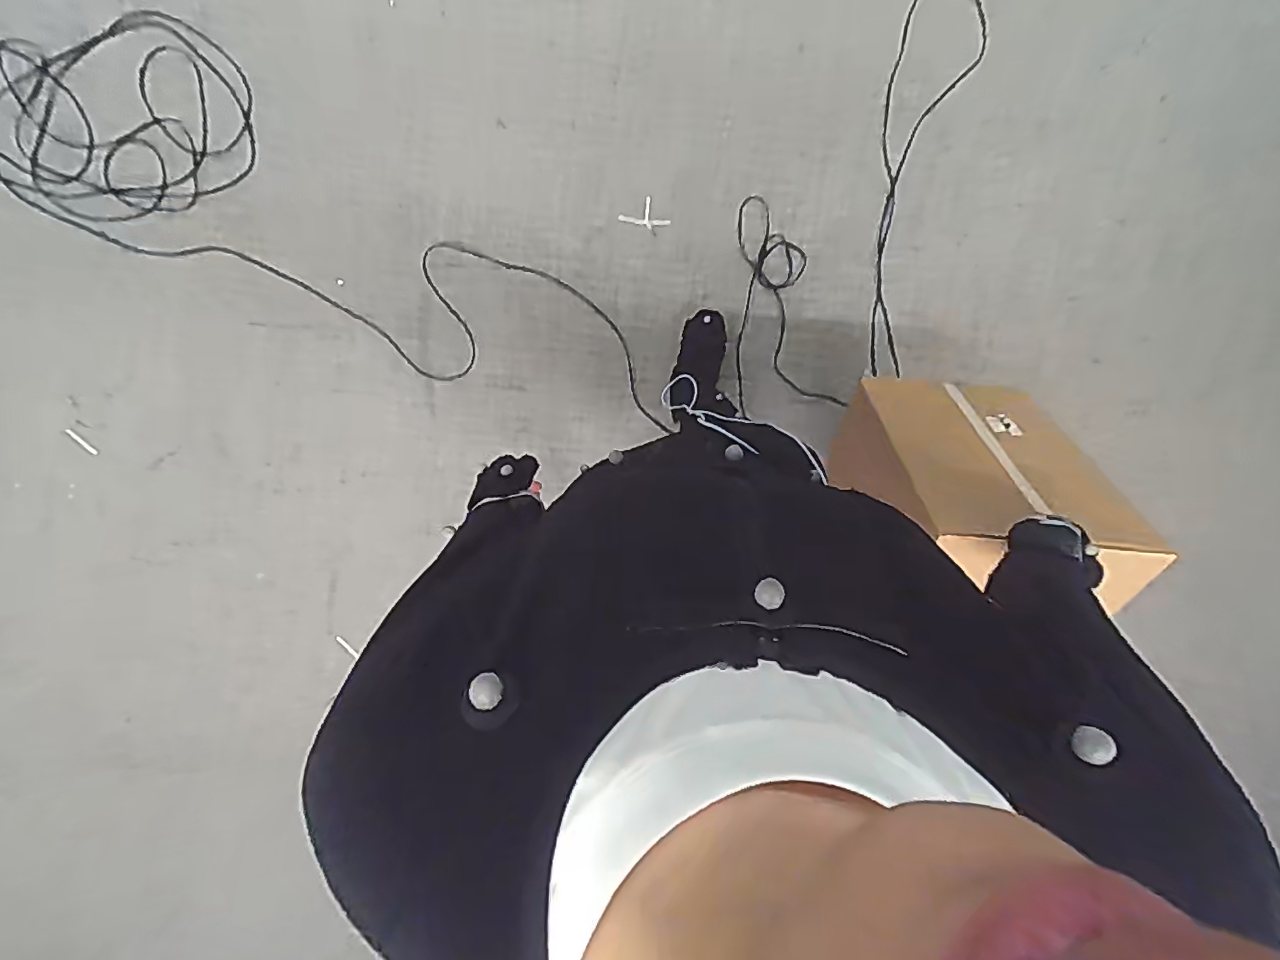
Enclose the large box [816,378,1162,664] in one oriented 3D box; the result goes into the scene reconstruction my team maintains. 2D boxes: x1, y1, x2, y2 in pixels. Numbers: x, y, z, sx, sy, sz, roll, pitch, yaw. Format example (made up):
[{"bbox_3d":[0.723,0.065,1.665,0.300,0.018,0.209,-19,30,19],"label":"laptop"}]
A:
[{"bbox_3d":[0.536,0.061,0.951,0.320,0.408,0.320,5,129,0],"label":"large box"}]
